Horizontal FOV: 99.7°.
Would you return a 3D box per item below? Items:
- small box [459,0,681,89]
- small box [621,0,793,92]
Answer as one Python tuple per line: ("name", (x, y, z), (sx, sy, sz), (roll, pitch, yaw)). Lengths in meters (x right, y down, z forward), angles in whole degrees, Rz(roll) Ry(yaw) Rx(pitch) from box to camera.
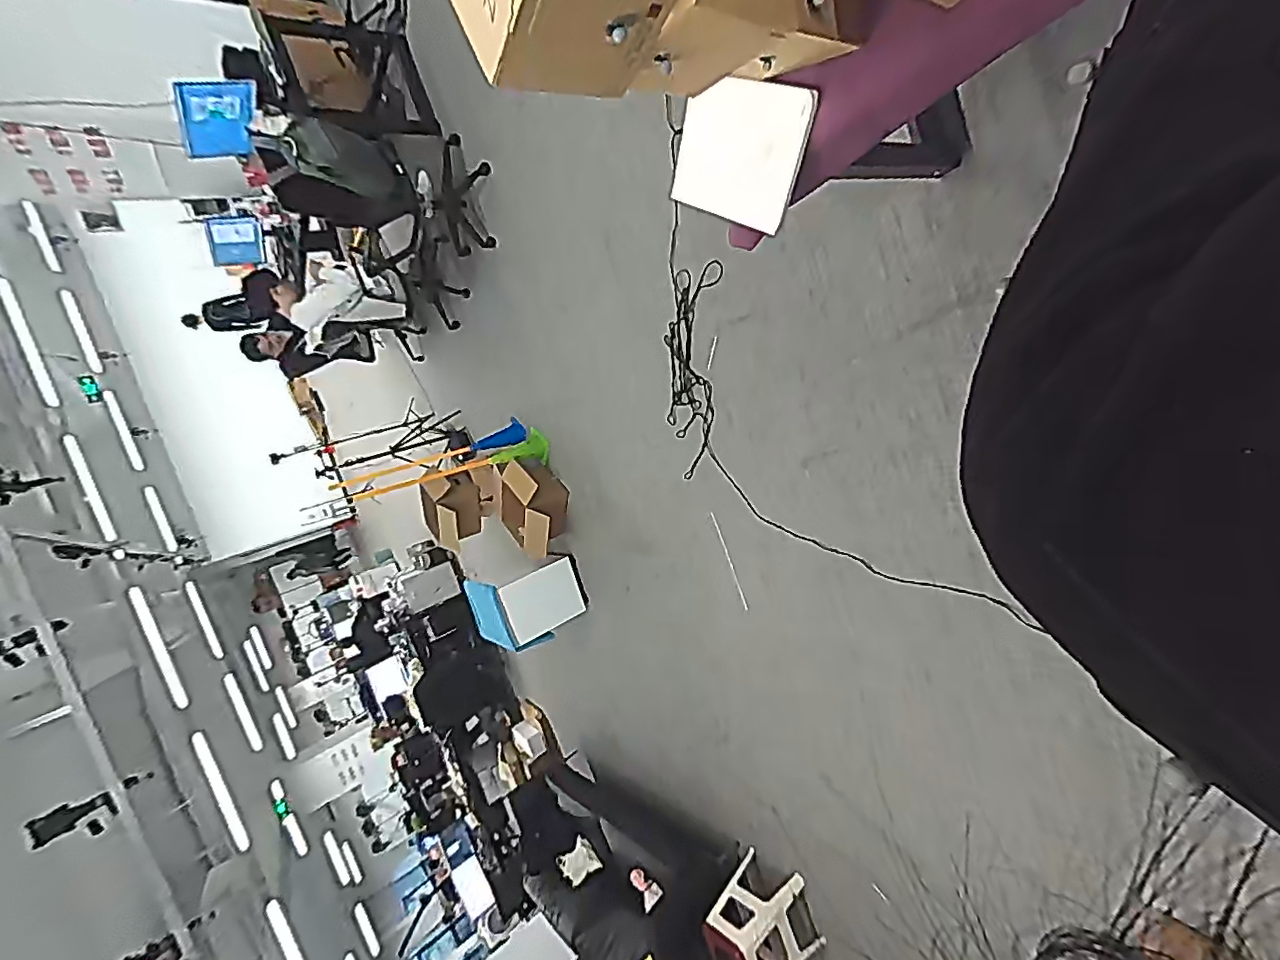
("small box", (-0.074, -0.521, 0.526), (0.168, 0.176, 0.179), (-28, 86, 57))
("small box", (0.057, -0.571, 0.612), (0.179, 0.176, 0.168), (11, 117, 52))
